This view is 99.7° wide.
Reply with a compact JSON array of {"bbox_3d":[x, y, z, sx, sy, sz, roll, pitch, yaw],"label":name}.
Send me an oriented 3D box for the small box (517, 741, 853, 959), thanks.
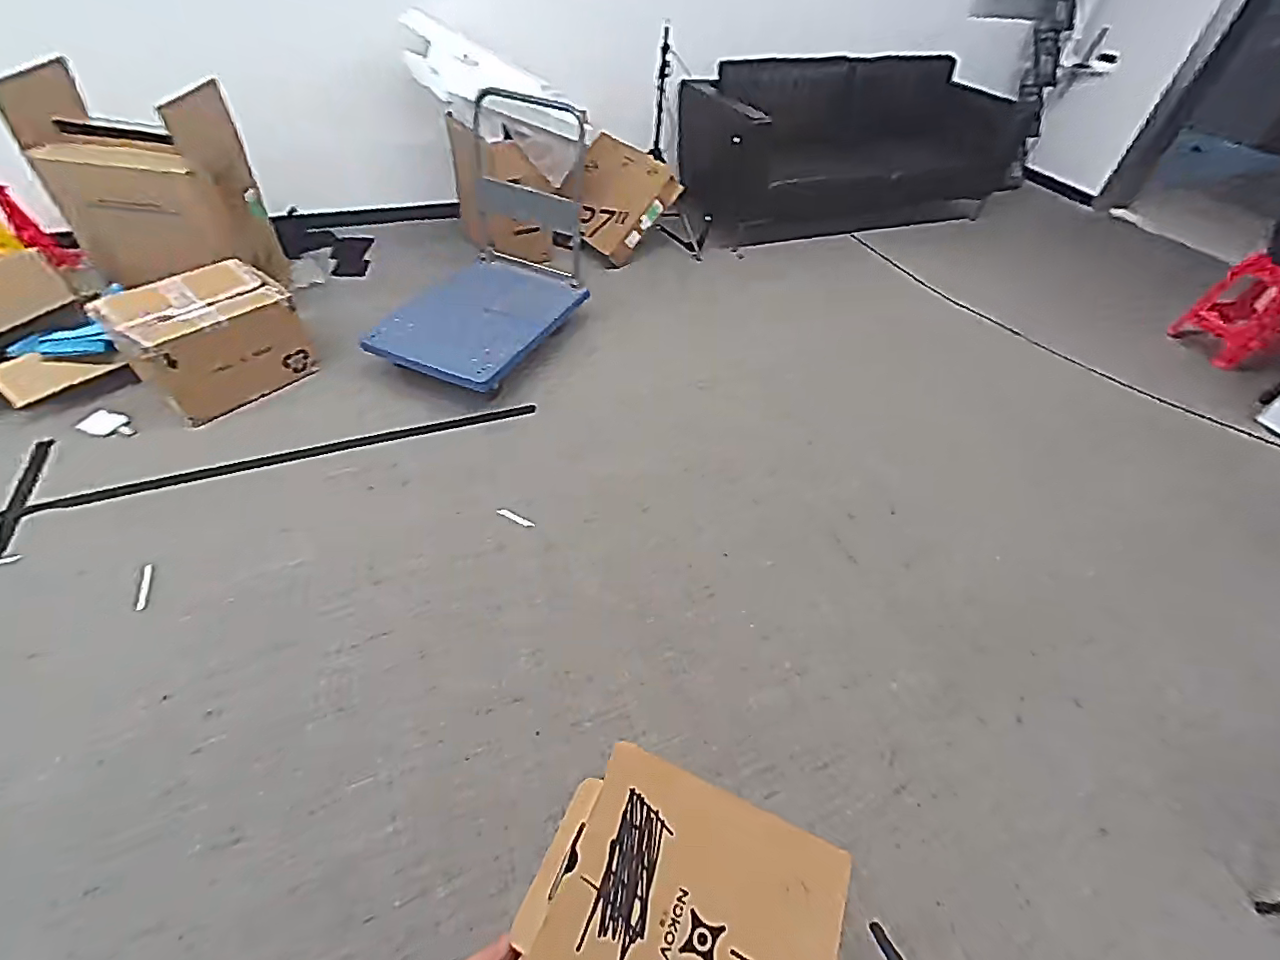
[{"bbox_3d":[0.025,0.327,0.386,0.179,0.176,0.168,21,50,13],"label":"small box"}]
